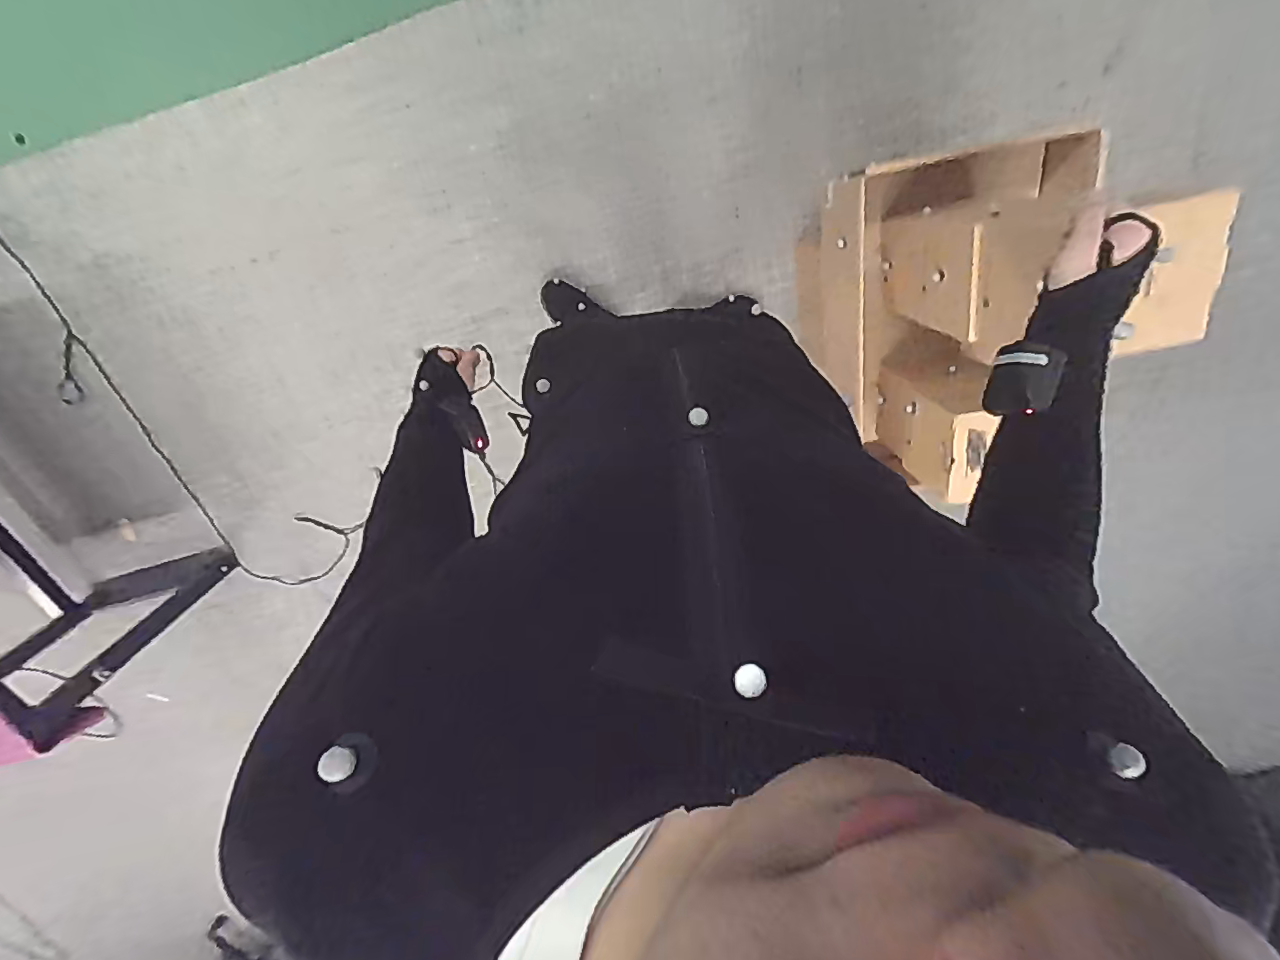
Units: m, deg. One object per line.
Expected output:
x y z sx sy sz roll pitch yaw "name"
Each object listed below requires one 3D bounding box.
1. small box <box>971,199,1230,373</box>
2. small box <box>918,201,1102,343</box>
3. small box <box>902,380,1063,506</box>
0.563 -0.251 0.690 0.179 0.176 0.168 -11 115 5 "small box"
0.553 -0.323 0.838 0.179 0.176 0.168 -10 116 5 "small box"
0.591 -0.070 0.962 0.179 0.176 0.168 -7 115 2 "small box"
